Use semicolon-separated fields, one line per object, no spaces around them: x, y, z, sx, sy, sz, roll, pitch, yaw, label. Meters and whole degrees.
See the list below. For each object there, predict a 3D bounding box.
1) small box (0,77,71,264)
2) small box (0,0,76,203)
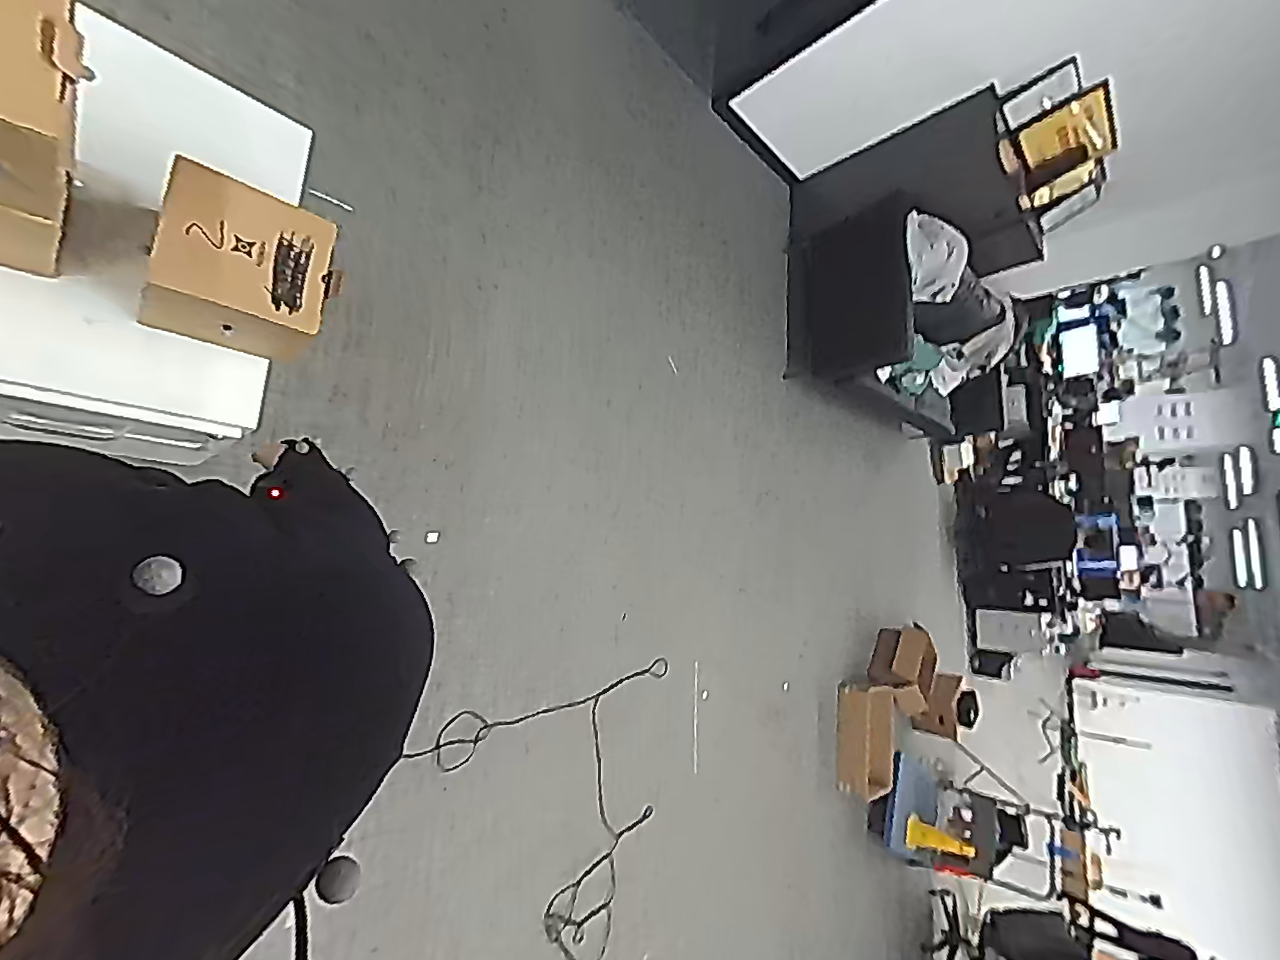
-0.719;-0.348;0.552;0.179;0.176;0.168;8;81;-47;small box
-0.599;-0.361;0.442;0.179;0.176;0.168;6;81;-47;small box
